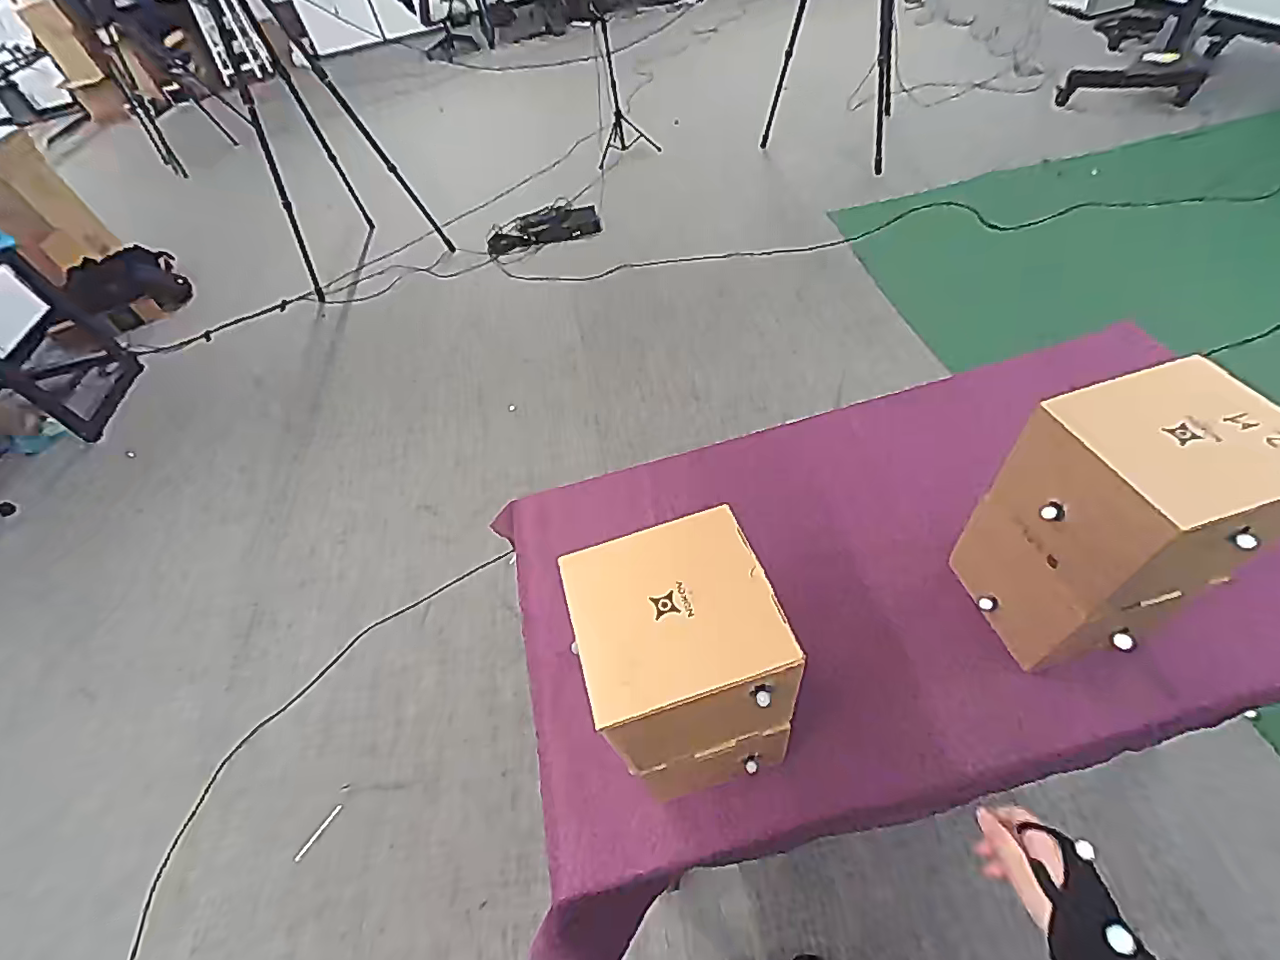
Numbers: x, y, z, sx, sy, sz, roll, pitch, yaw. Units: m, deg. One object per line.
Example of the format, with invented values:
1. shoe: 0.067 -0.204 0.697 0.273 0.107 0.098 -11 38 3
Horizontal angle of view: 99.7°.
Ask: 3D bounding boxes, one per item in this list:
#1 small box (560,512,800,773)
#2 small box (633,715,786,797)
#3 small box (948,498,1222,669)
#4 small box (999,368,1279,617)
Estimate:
1. small box: 0.037 0.164 0.534 0.179 0.176 0.168 -17 50 -5
2. small box: 0.065 0.266 0.658 0.168 0.176 0.179 -16 49 -3
3. small box: 0.533 0.121 0.684 0.168 0.176 0.179 -15 51 -2
4. small box: 0.510 0.018 0.556 0.179 0.176 0.168 -16 50 -2
